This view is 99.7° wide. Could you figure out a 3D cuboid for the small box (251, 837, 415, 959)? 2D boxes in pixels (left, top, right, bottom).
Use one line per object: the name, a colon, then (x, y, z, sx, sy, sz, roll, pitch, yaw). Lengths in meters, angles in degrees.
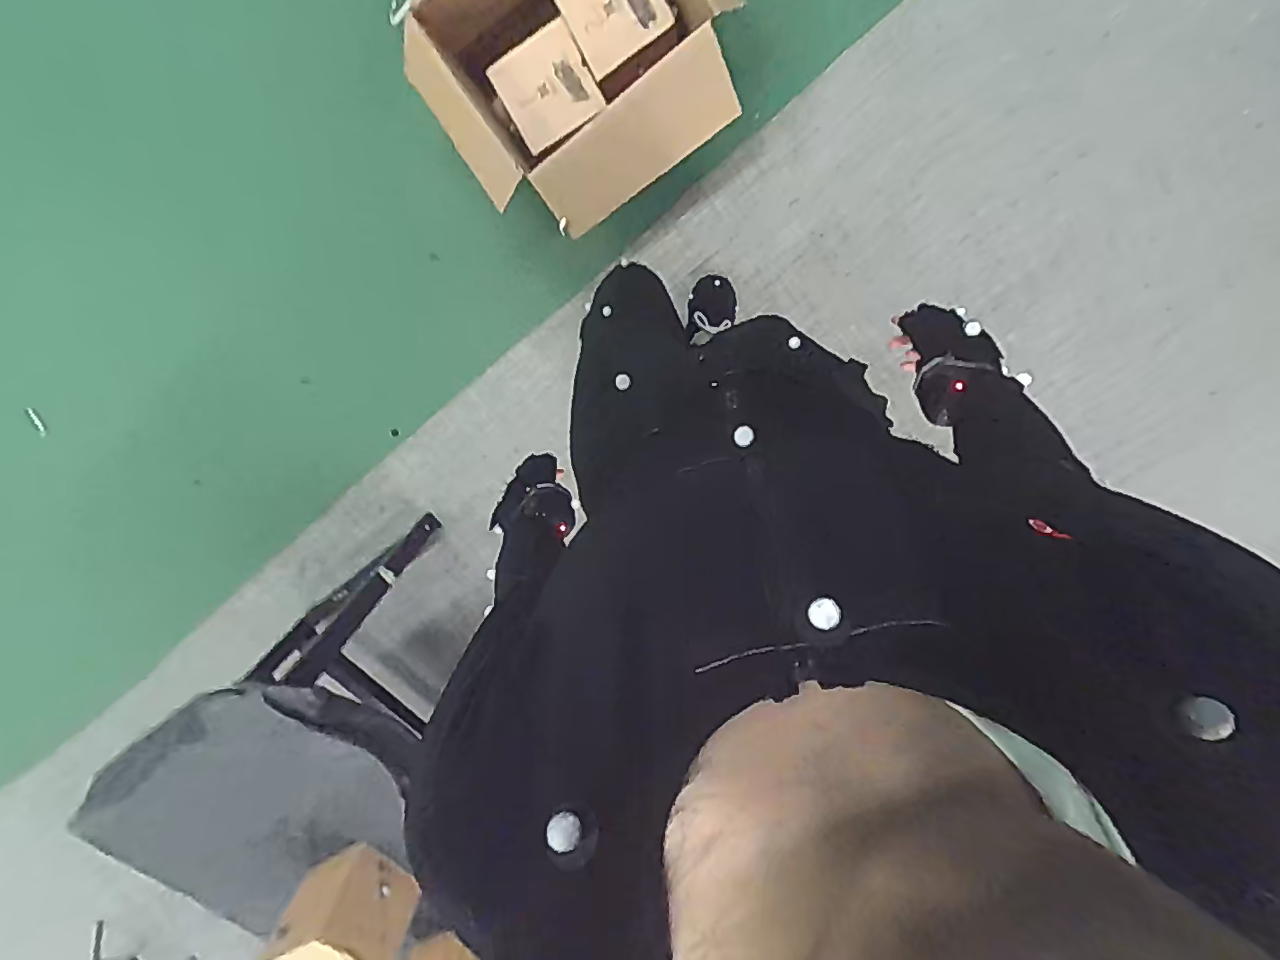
small box: (-0.564, 0.824, 1.019, 0.179, 0.176, 0.168, -34, 109, 14)
